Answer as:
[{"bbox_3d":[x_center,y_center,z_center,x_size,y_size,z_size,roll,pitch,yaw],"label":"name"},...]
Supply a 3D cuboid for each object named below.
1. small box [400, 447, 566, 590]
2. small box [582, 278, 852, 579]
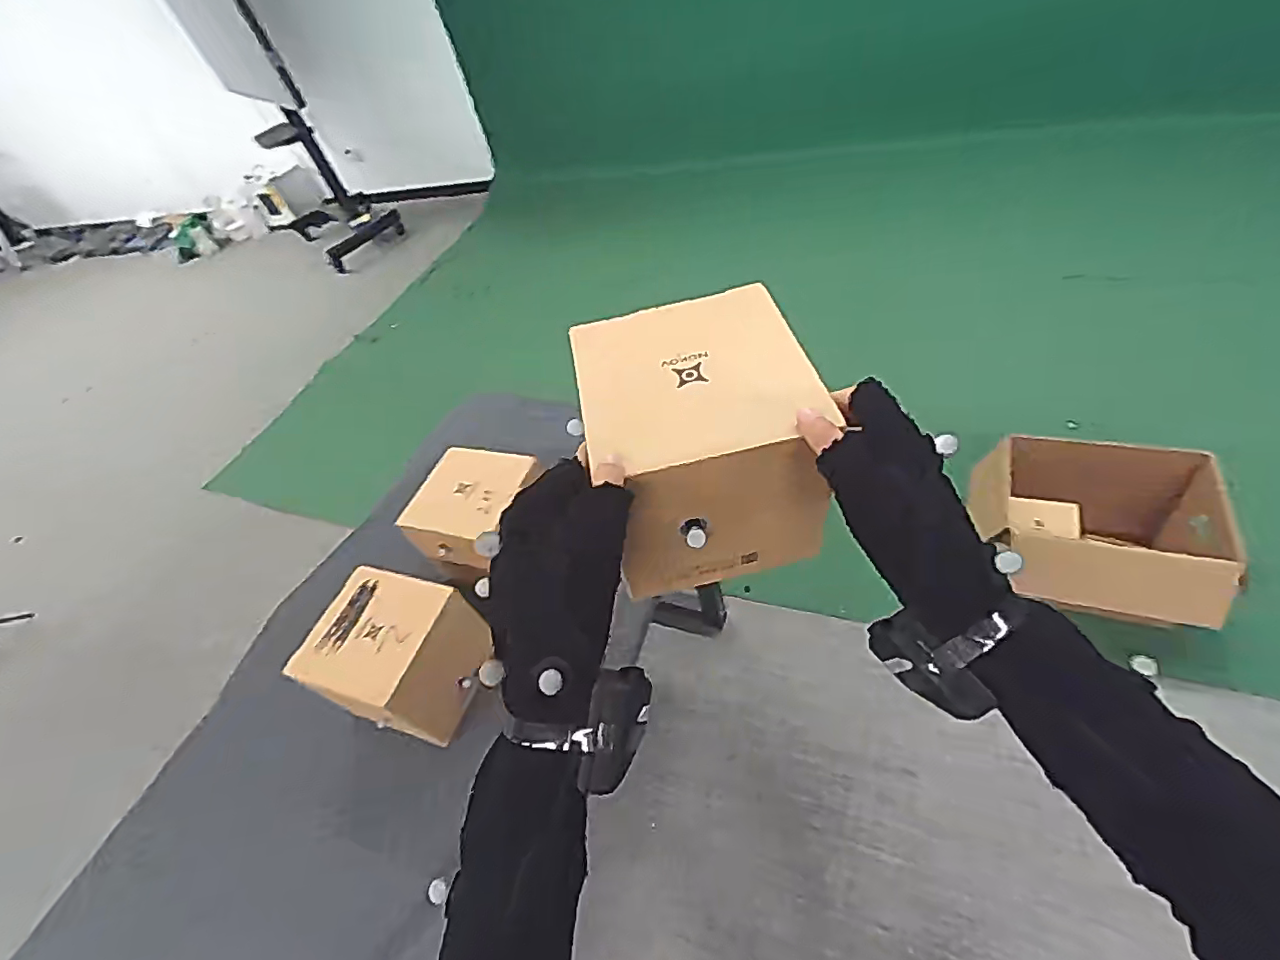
[{"bbox_3d":[-0.252,0.067,0.910,0.179,0.176,0.168,8,54,22],"label":"small box"},{"bbox_3d":[0.057,-0.033,0.455,0.168,0.176,0.179,-13,50,1],"label":"small box"}]
